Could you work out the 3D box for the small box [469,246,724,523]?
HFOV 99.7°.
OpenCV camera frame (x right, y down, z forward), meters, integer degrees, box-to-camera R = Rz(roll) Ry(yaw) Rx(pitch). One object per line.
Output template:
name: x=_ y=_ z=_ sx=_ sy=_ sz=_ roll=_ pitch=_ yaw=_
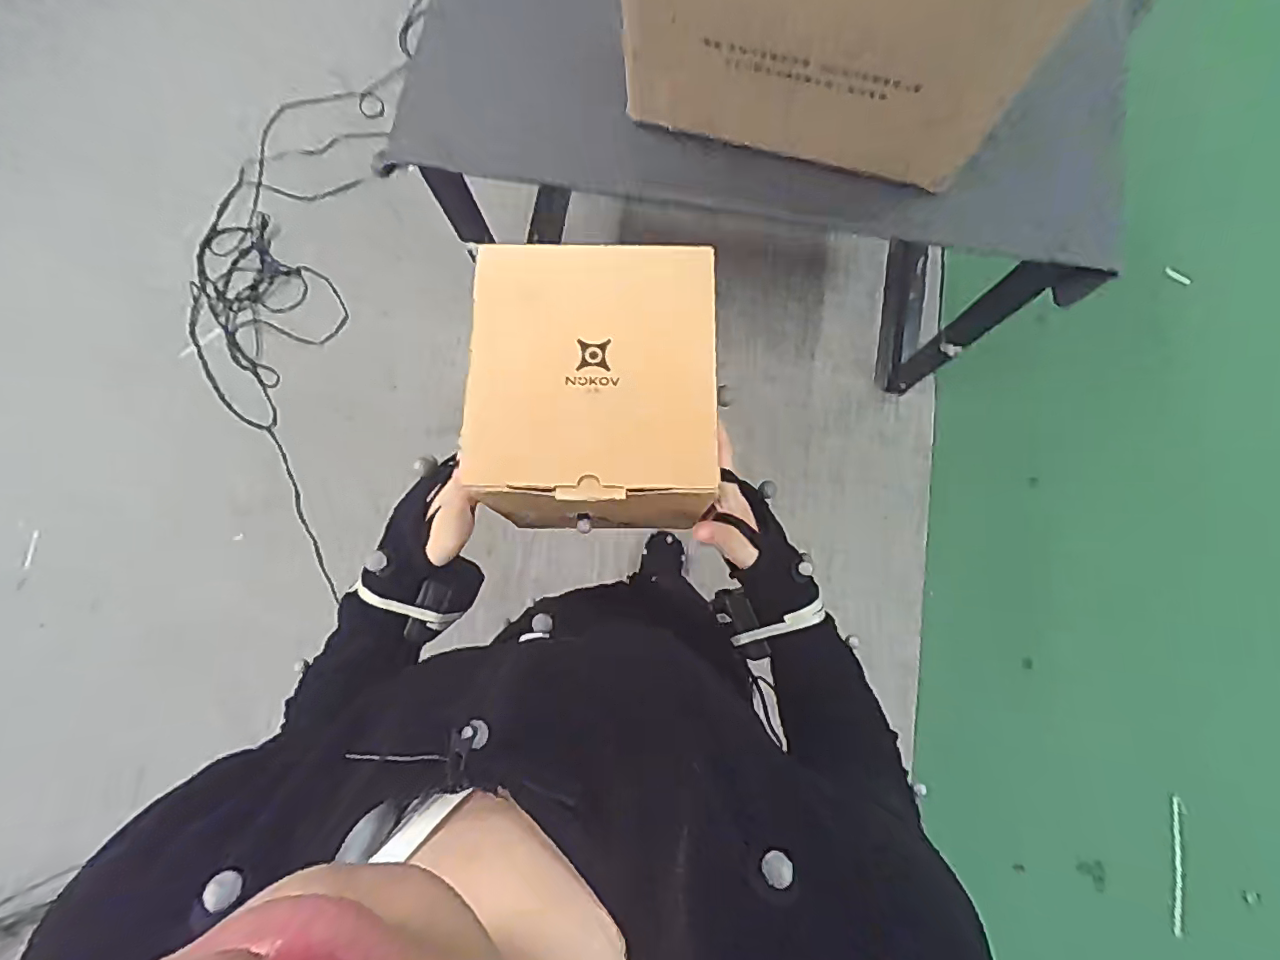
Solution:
small box: x=-0.030 y=-0.062 z=0.440 sx=0.168 sy=0.176 sz=0.179 roll=0 pitch=79 yaw=-1
